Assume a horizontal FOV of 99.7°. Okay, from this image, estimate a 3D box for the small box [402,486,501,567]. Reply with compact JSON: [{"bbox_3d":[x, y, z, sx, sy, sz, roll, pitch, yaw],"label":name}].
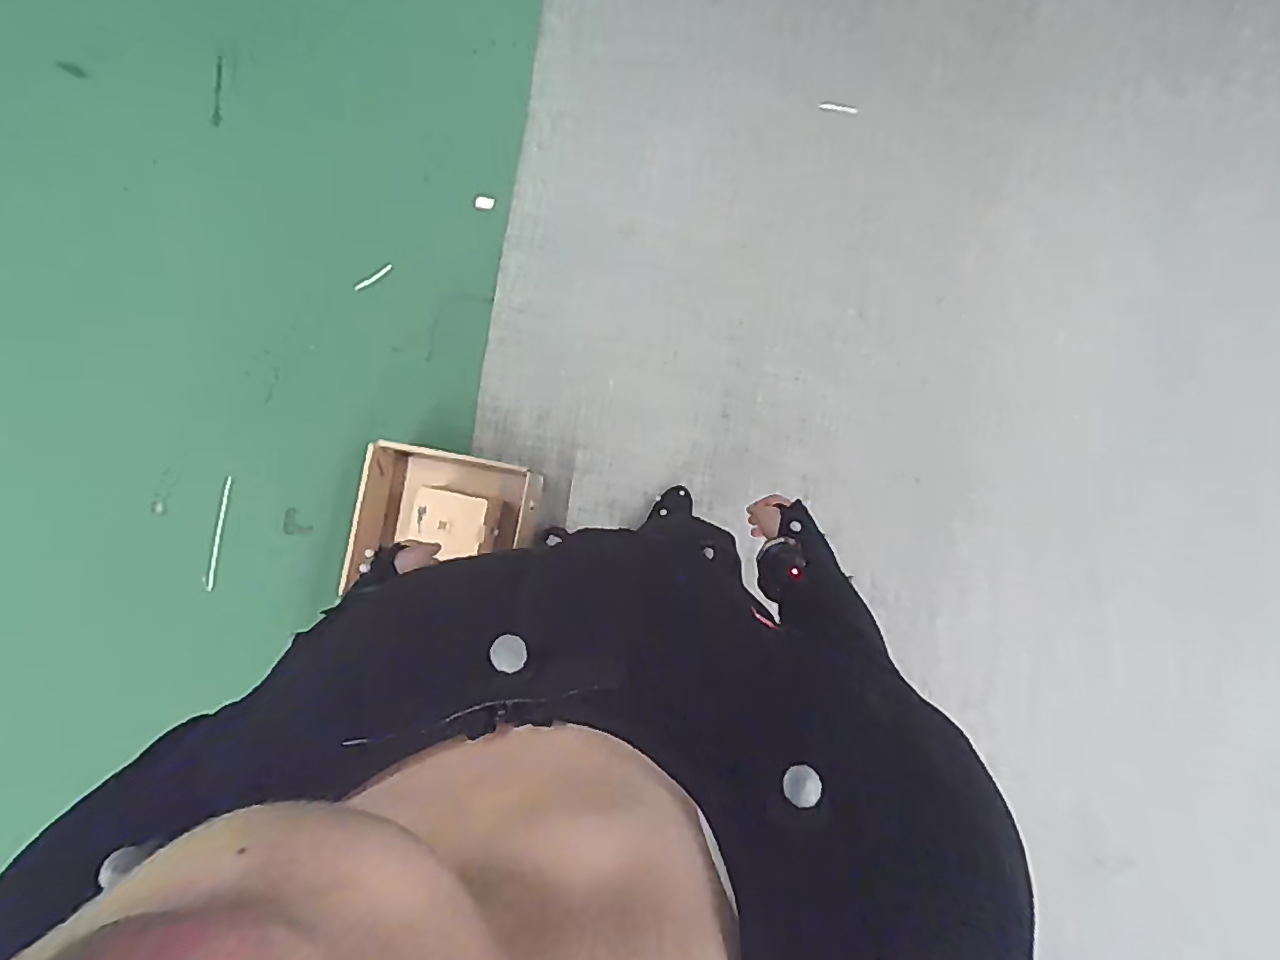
[{"bbox_3d":[-0.458,0.109,1.347,0.179,0.176,0.168,12,89,-2],"label":"small box"}]
